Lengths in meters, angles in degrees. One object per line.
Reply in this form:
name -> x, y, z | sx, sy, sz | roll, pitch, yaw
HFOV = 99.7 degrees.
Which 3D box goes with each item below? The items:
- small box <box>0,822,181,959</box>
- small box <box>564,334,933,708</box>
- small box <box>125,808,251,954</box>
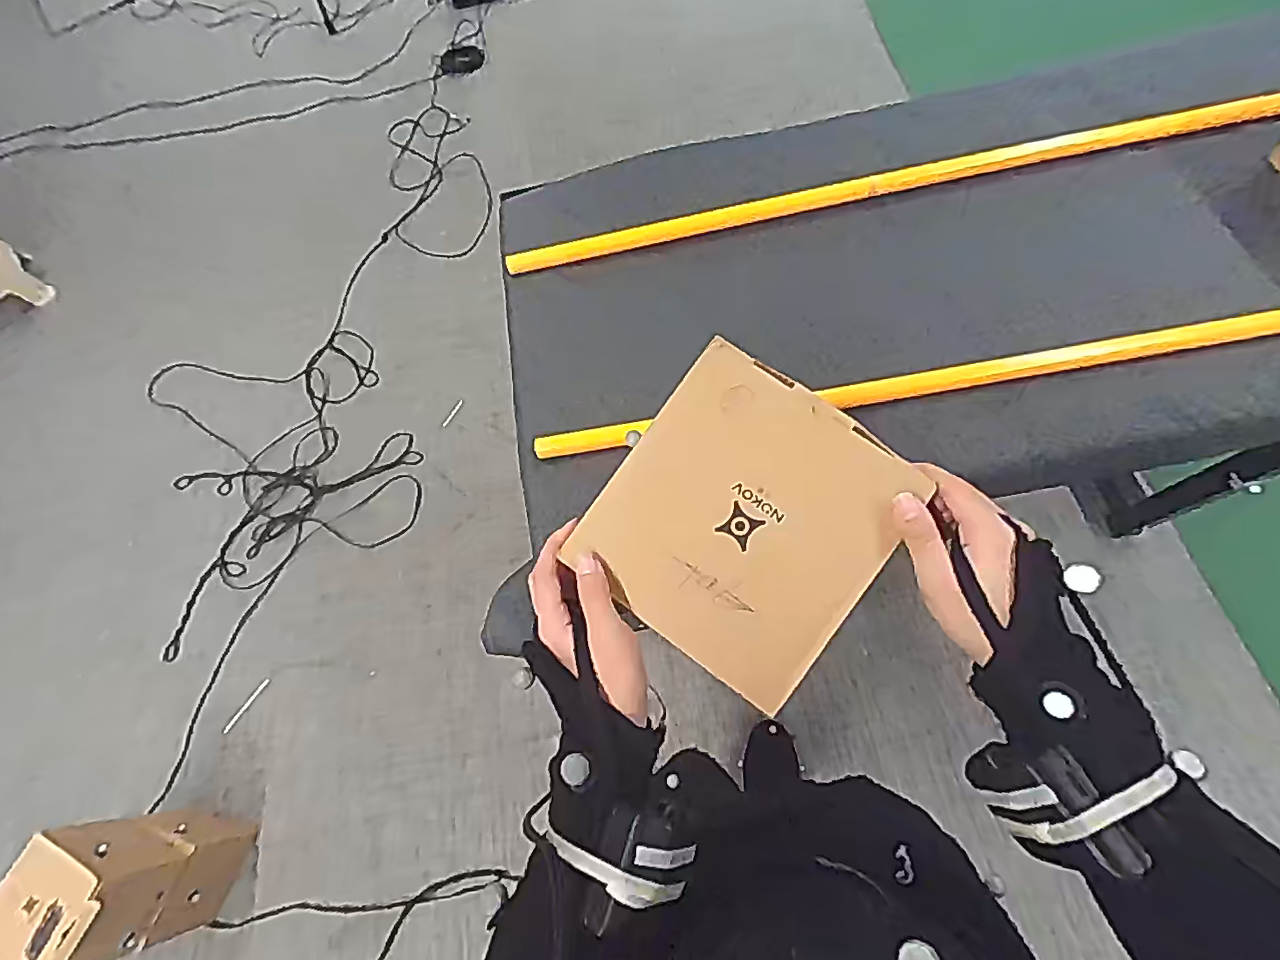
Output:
small box -> -0.985, 0.737, 0.958 | 0.179, 0.176, 0.168 | 19, 69, 15
small box -> 0.071, 0.028, 0.411 | 0.168, 0.176, 0.179 | 34, 89, 8
small box -> -0.955, 0.803, 1.107 | 0.168, 0.176, 0.179 | 14, 69, 13
